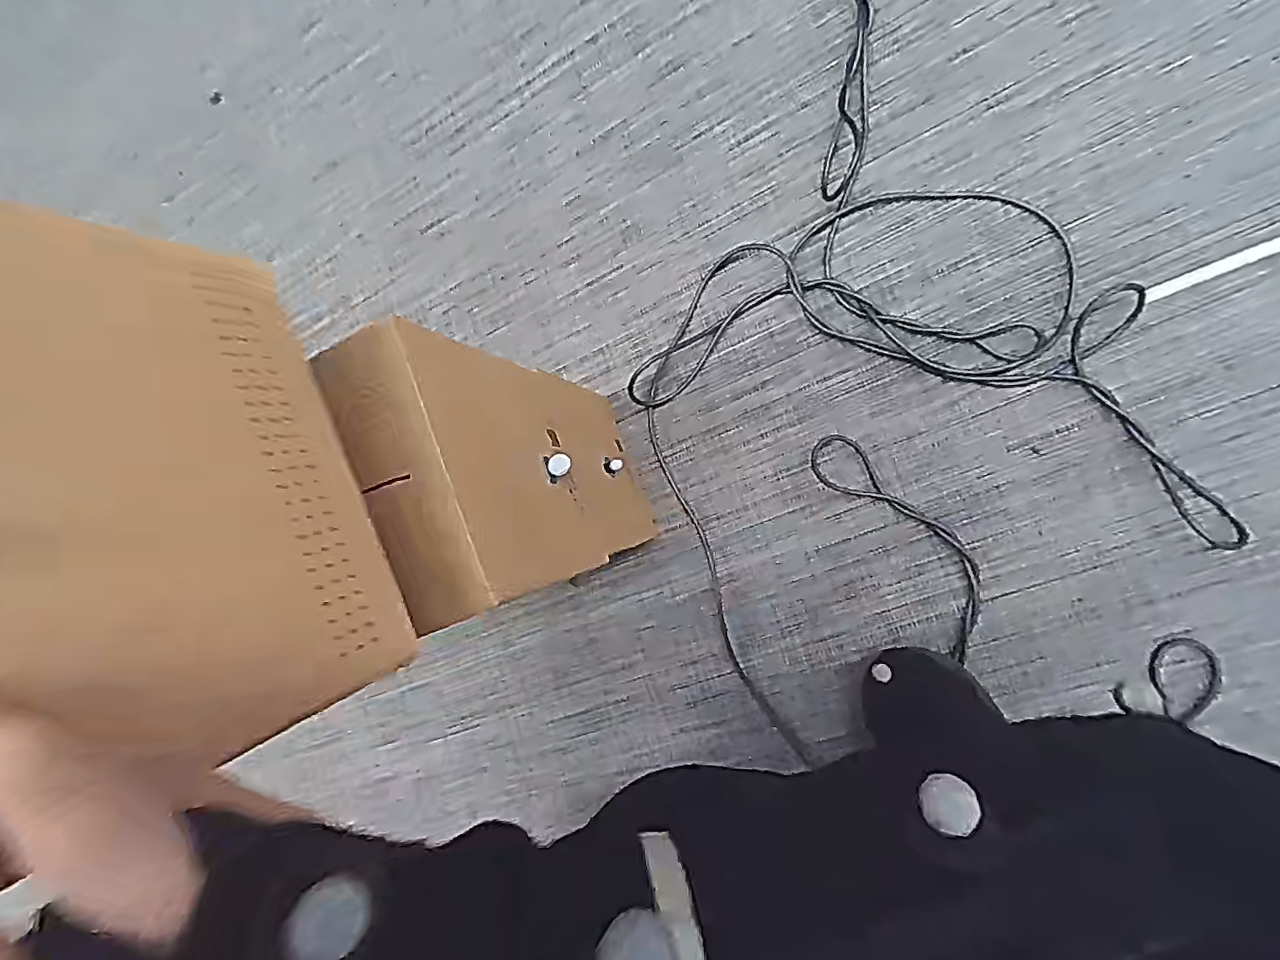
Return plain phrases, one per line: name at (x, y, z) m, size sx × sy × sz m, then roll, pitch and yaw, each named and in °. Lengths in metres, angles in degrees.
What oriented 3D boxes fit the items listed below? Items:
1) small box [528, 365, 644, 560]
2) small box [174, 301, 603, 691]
small box at (-0.108, 0.009, 0.526) m, size 0.179 × 0.176 × 0.168 m, roll -21°, pitch 83°, yaw 16°
small box at (-0.151, 0.015, 0.367) m, size 0.179 × 0.176 × 0.168 m, roll -23°, pitch 84°, yaw 15°
